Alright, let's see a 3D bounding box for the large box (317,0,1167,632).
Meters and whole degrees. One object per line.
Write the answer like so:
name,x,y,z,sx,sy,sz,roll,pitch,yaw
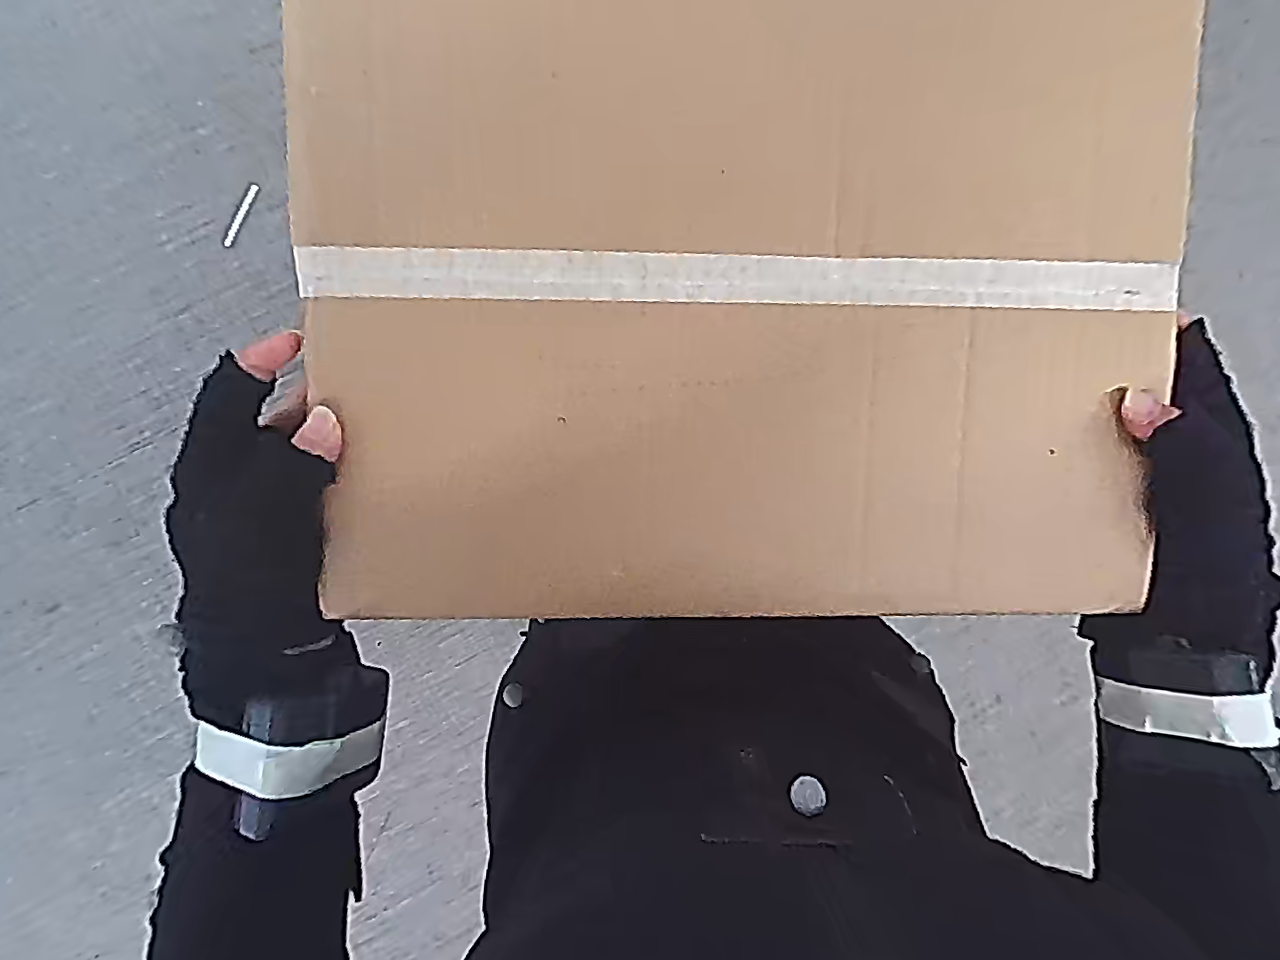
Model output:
large box,0.047,-0.094,0.409,0.408,0.320,0.320,-1,96,-3
